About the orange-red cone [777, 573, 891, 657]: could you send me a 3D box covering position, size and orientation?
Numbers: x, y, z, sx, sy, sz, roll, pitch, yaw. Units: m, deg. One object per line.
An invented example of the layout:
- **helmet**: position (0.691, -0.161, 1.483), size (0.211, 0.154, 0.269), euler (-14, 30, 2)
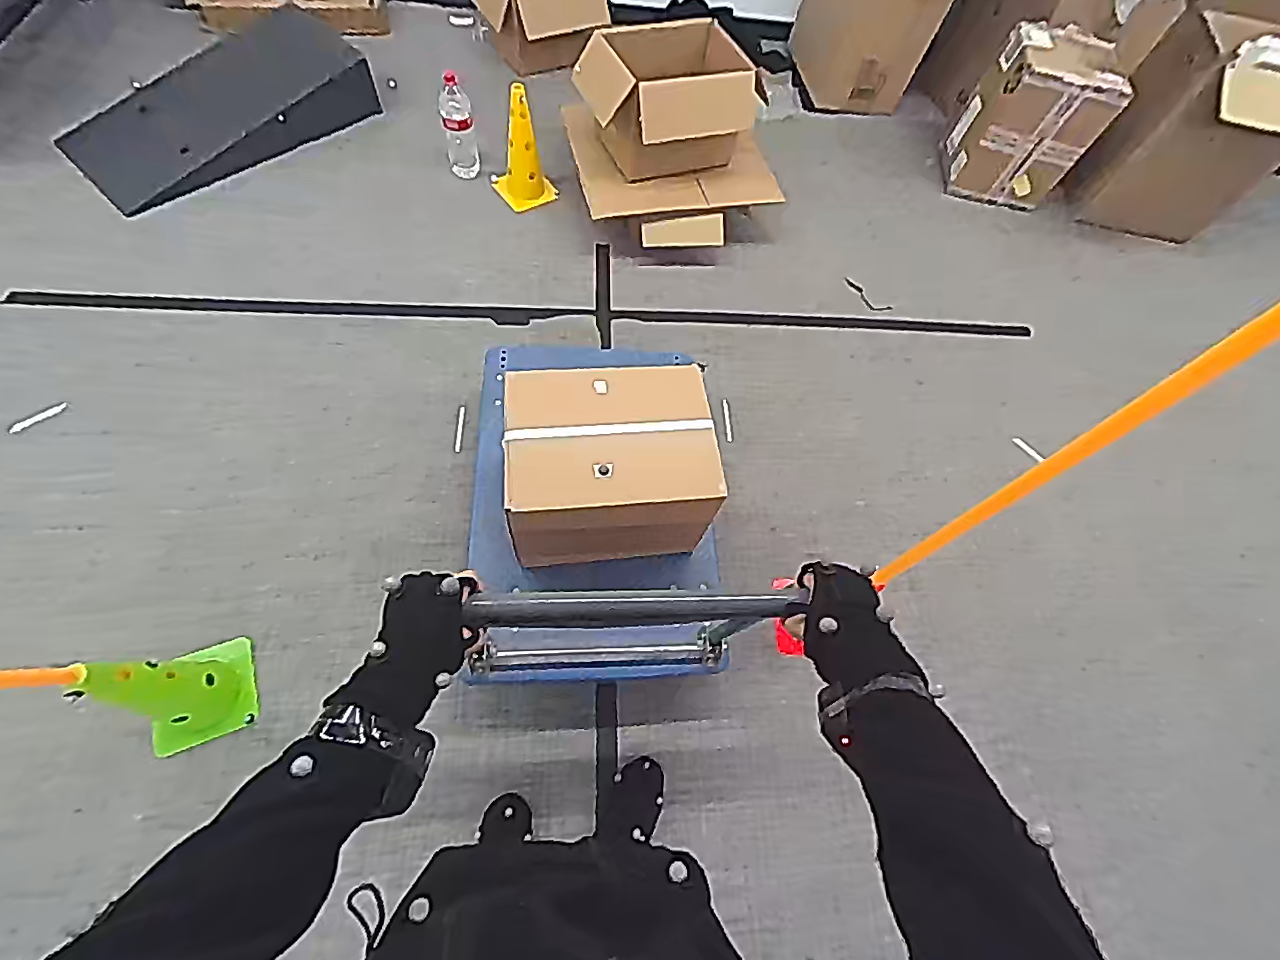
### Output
- **orange-red cone**: position (0.477, 0.281, 1.261), size (0.199, 0.360, 0.198), euler (7, 63, -5)
